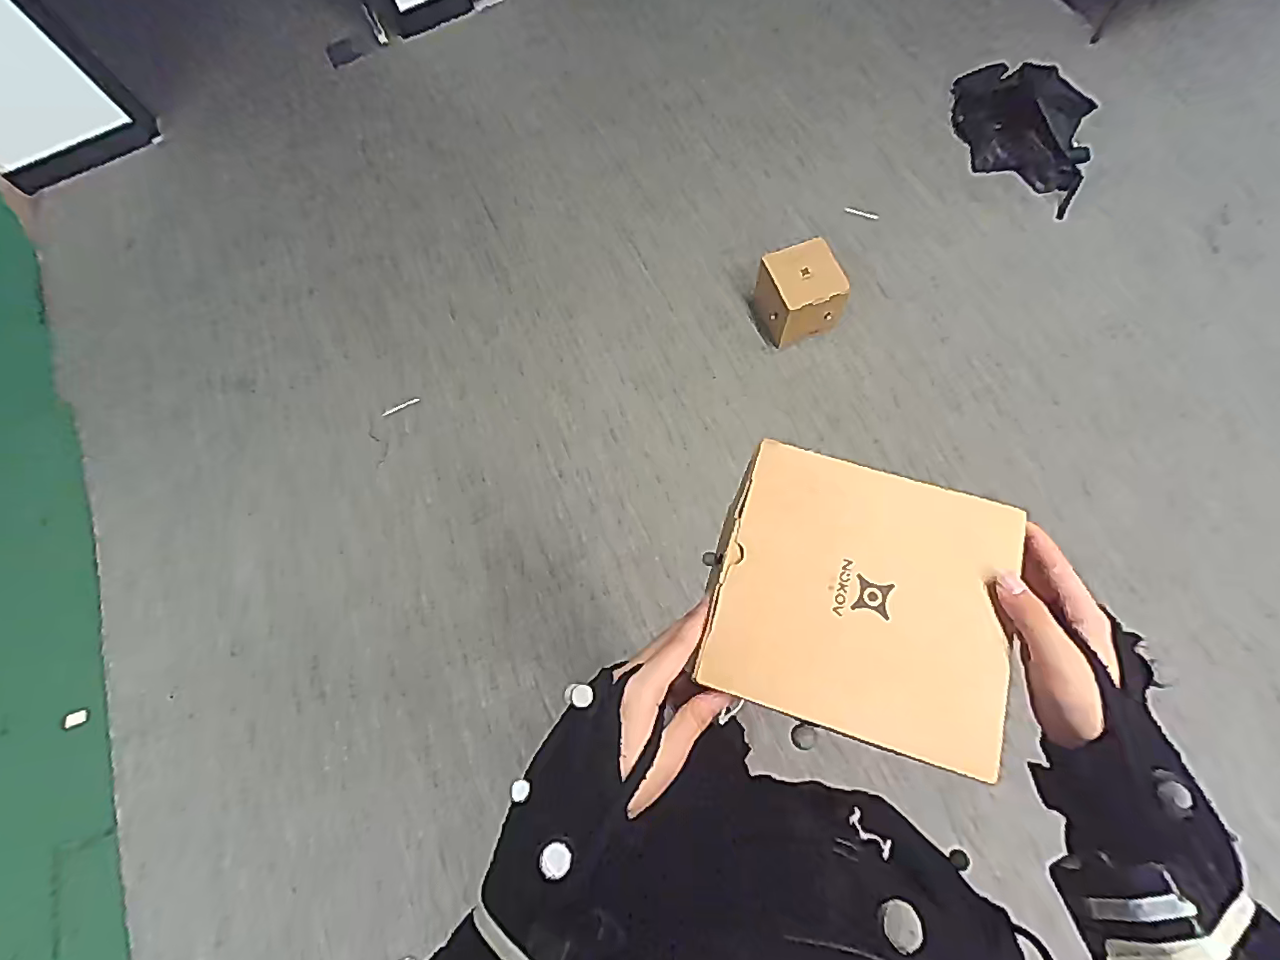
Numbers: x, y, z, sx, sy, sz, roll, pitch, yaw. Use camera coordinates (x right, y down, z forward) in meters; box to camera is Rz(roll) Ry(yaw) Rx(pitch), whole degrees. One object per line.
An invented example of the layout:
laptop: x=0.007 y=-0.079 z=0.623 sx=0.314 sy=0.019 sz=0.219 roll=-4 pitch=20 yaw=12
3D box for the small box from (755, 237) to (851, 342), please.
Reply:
small box: x=0.411 y=-0.480 z=1.391 sx=0.168 sy=0.176 sz=0.179 roll=-19 pitch=70 yaw=-3
